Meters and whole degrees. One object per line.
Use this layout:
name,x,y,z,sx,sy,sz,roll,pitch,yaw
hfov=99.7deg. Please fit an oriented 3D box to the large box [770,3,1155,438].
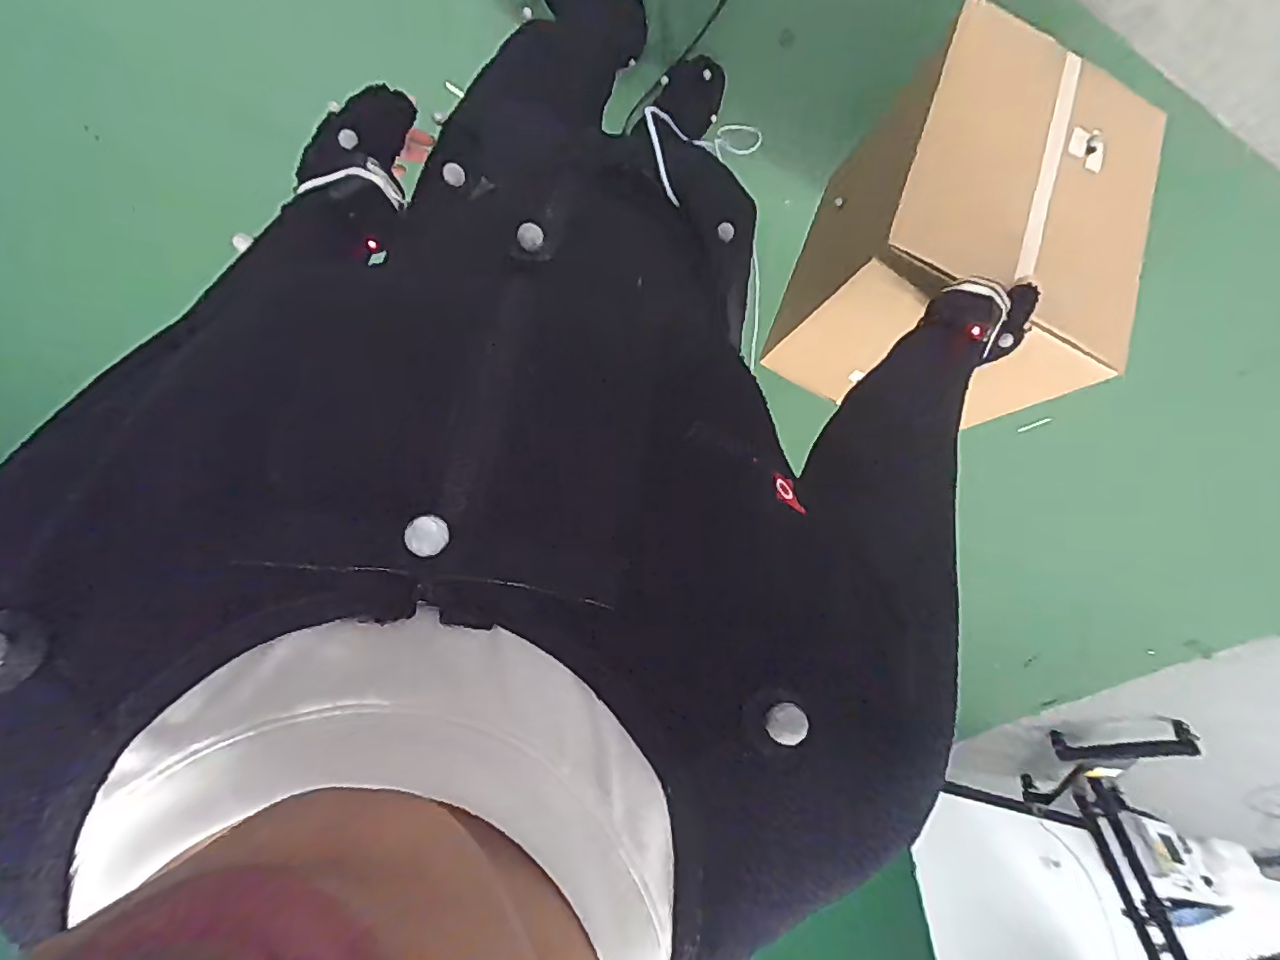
large box,0.437,-0.329,0.781,0.320,0.408,0.320,25,164,-8
